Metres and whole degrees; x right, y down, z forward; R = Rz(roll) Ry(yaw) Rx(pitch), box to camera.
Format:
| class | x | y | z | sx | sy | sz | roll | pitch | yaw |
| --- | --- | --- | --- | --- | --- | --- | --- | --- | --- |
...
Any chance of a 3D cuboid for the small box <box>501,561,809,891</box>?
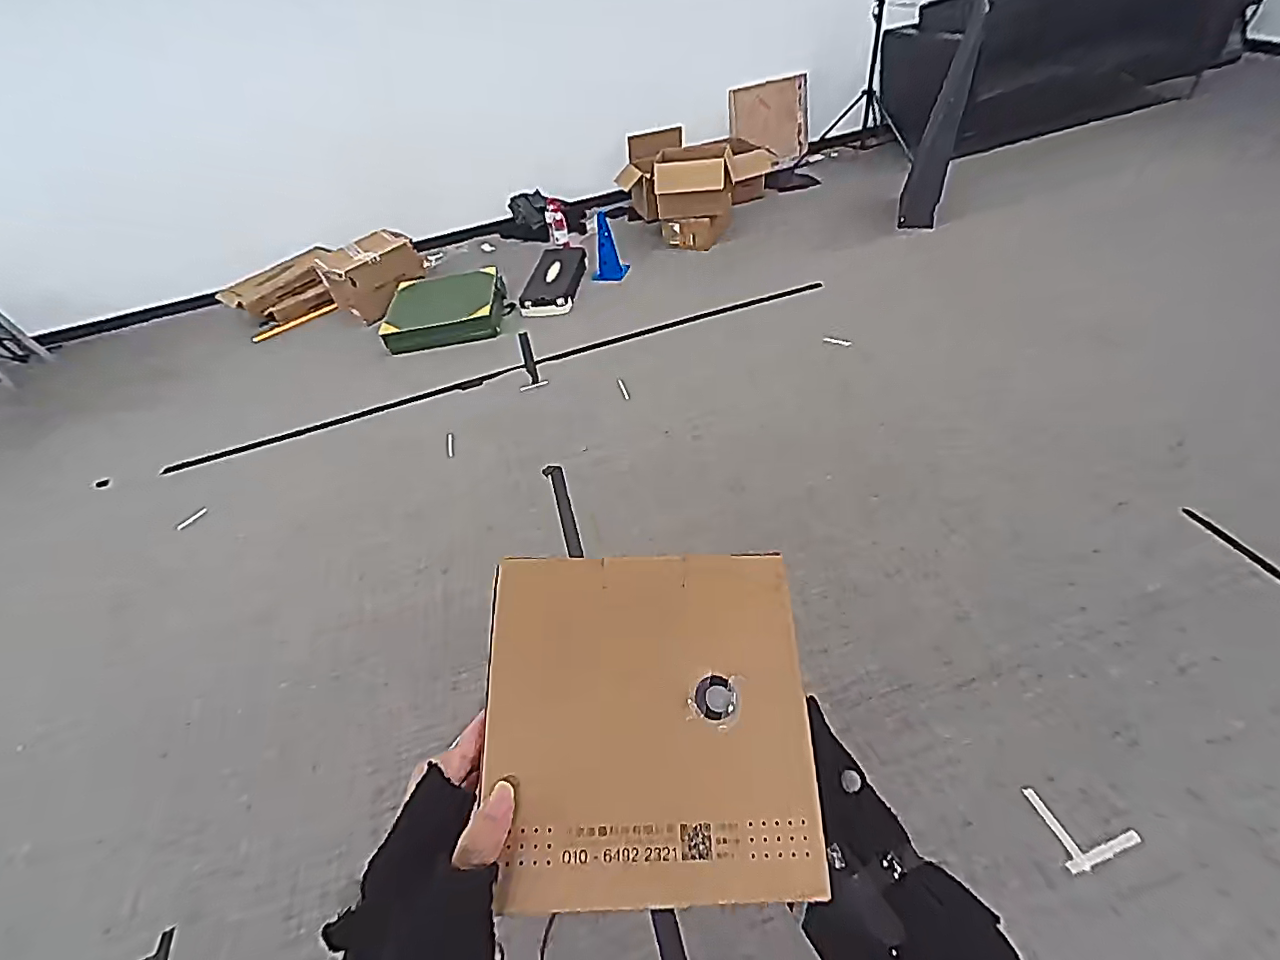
| class | x | y | z | sx | sy | sz | roll | pitch | yaw |
| --- | --- | --- | --- | --- | --- | --- | --- | --- | --- |
| small box | 0.006 | 0.160 | 0.373 | 0.168 | 0.179 | 0.176 | -1 | 68 | 0 |
